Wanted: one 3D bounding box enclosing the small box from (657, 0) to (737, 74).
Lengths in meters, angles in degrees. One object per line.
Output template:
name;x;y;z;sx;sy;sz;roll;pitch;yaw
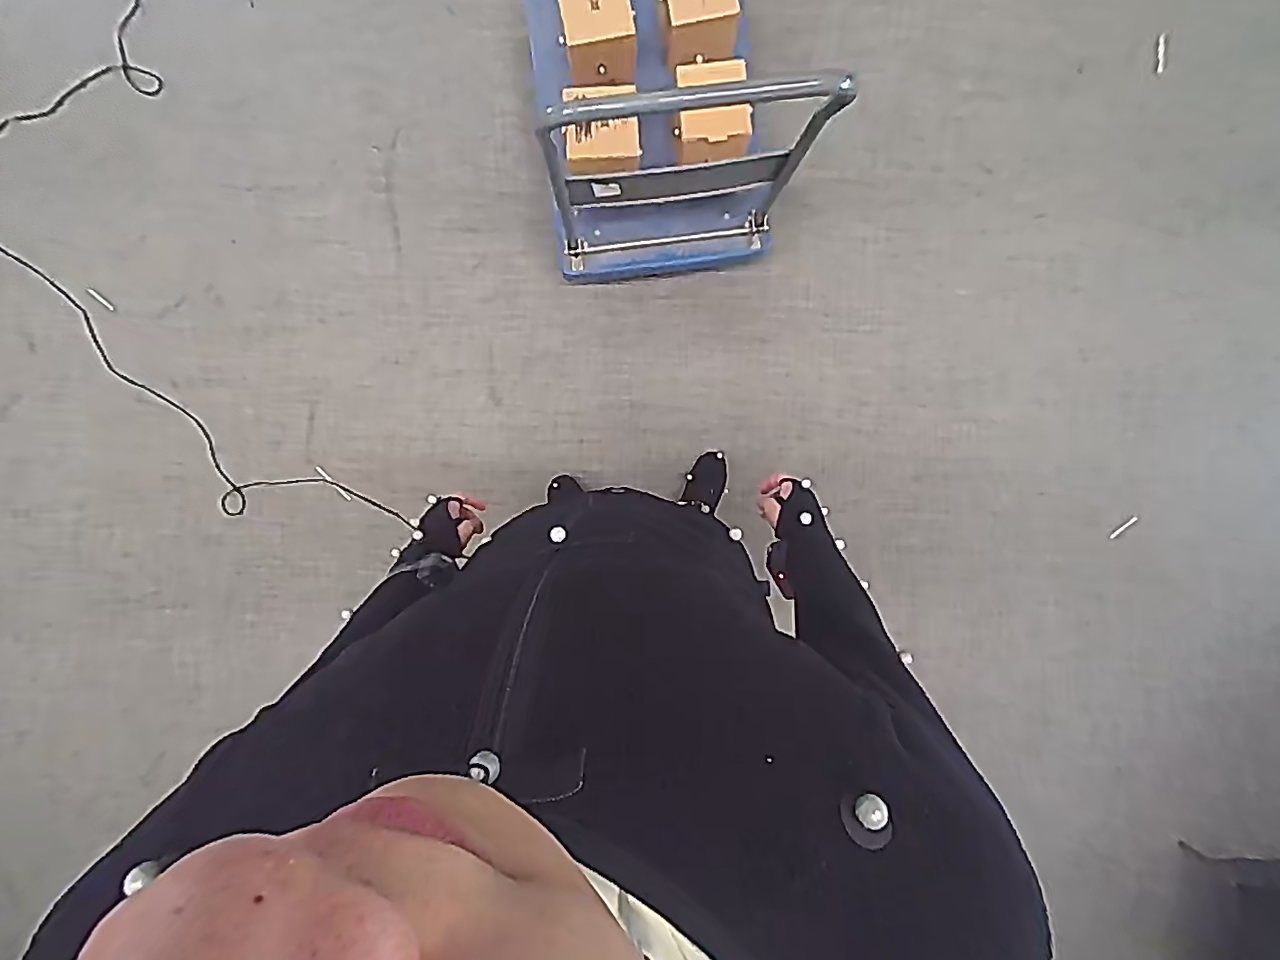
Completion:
small box;0.137;-1.176;1.357;0.168;0.176;0.179;-11;93;1

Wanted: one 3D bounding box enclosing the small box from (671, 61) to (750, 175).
small box;0.172;-0.908;1.368;0.168;0.176;0.179;-7;92;0

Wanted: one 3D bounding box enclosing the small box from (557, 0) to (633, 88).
small box;-0.110;-1.126;1.358;0.168;0.176;0.179;-11;92;-1
